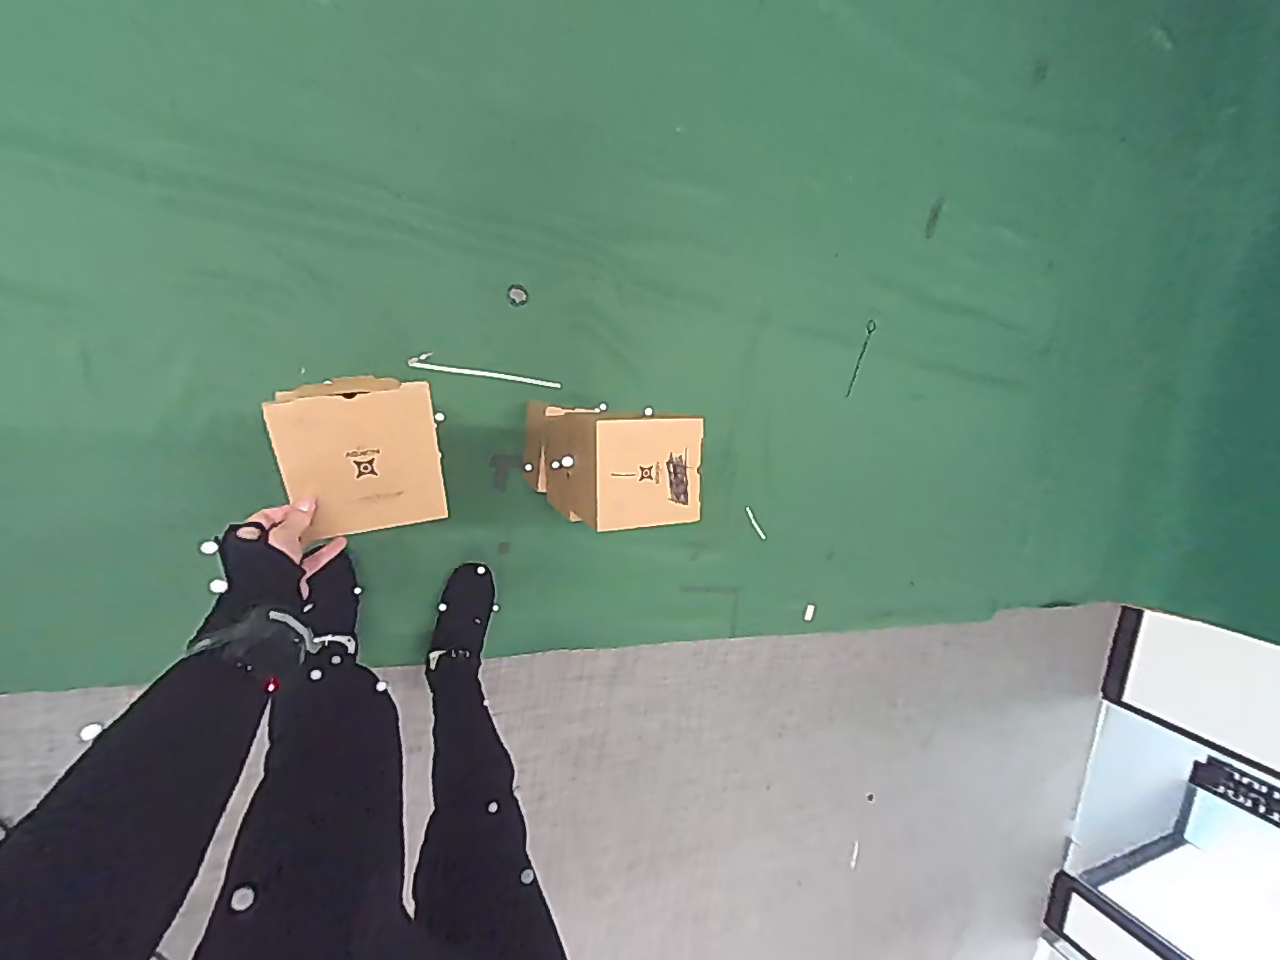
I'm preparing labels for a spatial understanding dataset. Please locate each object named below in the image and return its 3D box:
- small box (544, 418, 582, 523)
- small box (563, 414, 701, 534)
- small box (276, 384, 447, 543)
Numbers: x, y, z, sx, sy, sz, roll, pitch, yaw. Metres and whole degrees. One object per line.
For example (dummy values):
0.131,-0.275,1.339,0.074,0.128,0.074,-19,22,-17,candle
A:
-0.082,-0.029,1.030,0.168,0.176,0.179,-7,103,-22,small box
-0.018,-0.019,0.877,0.179,0.176,0.168,-4,101,-22,small box
-0.360,-0.026,0.724,0.168,0.176,0.179,-10,97,-20,small box
